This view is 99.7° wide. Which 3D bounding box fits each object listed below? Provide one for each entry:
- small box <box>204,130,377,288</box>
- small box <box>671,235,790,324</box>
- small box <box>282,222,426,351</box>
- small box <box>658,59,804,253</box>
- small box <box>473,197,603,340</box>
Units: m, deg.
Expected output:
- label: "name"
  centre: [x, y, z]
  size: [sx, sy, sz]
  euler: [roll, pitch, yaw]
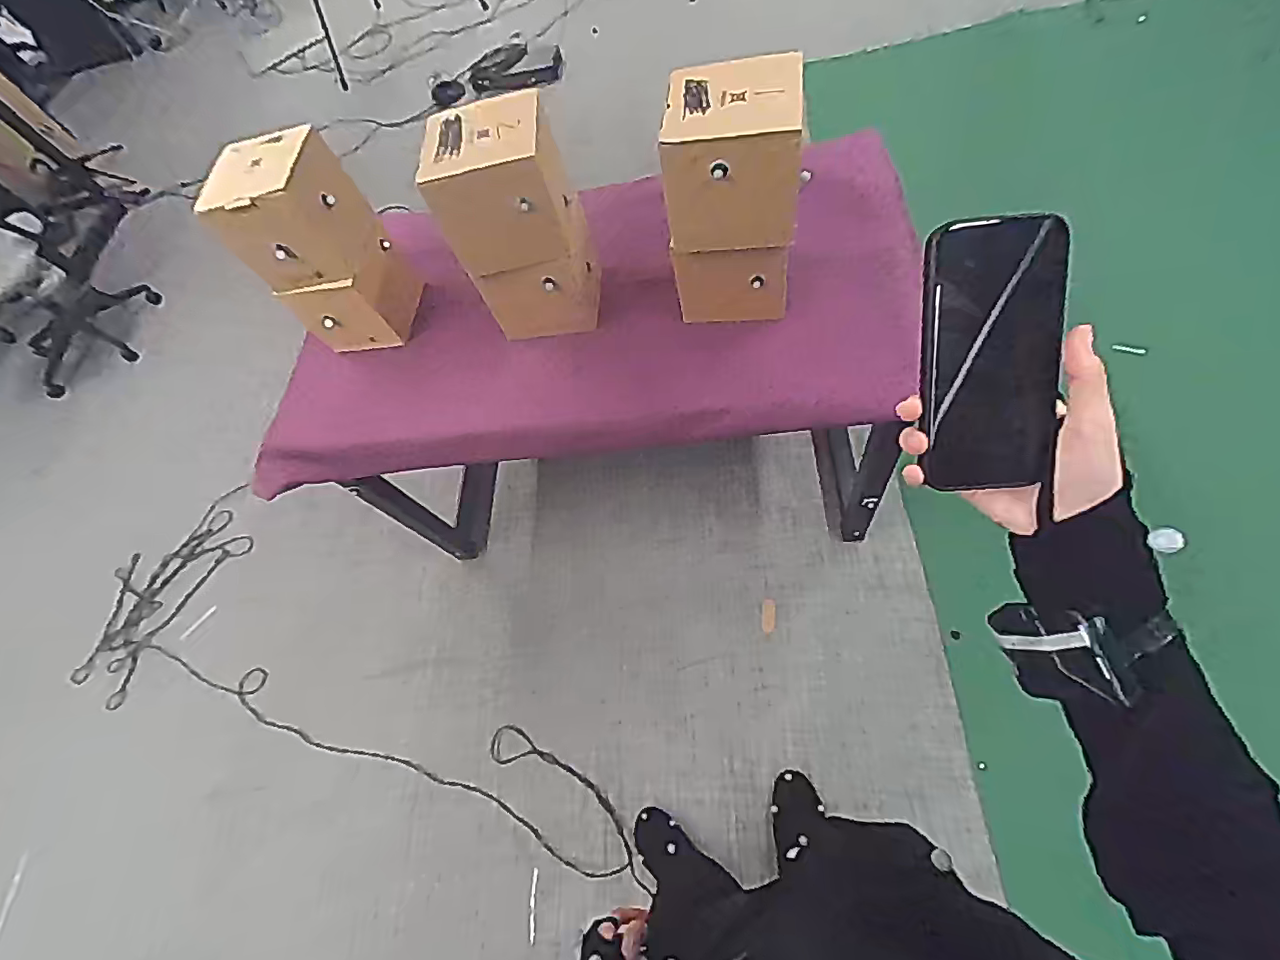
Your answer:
- label: "small box"
  centre: [-0.587, -0.454, 0.933]
  size: [0.168, 0.176, 0.179]
  euler: [-7, 63, 9]
- label: "small box"
  centre: [0.161, -0.381, 0.909]
  size: [0.179, 0.176, 0.168]
  euler: [2, 63, 15]
- label: "small box"
  centre: [-0.553, -0.372, 1.073]
  size: [0.168, 0.176, 0.179]
  euler: [-3, 63, 12]
- label: "small box"
  centre: [0.134, -0.441, 0.758]
  size: [0.179, 0.176, 0.168]
  euler: [2, 64, 14]
- label: "small box"
  centre: [-0.172, -0.375, 0.983]
  size: [0.179, 0.176, 0.168]
  euler: [-3, 62, 12]
